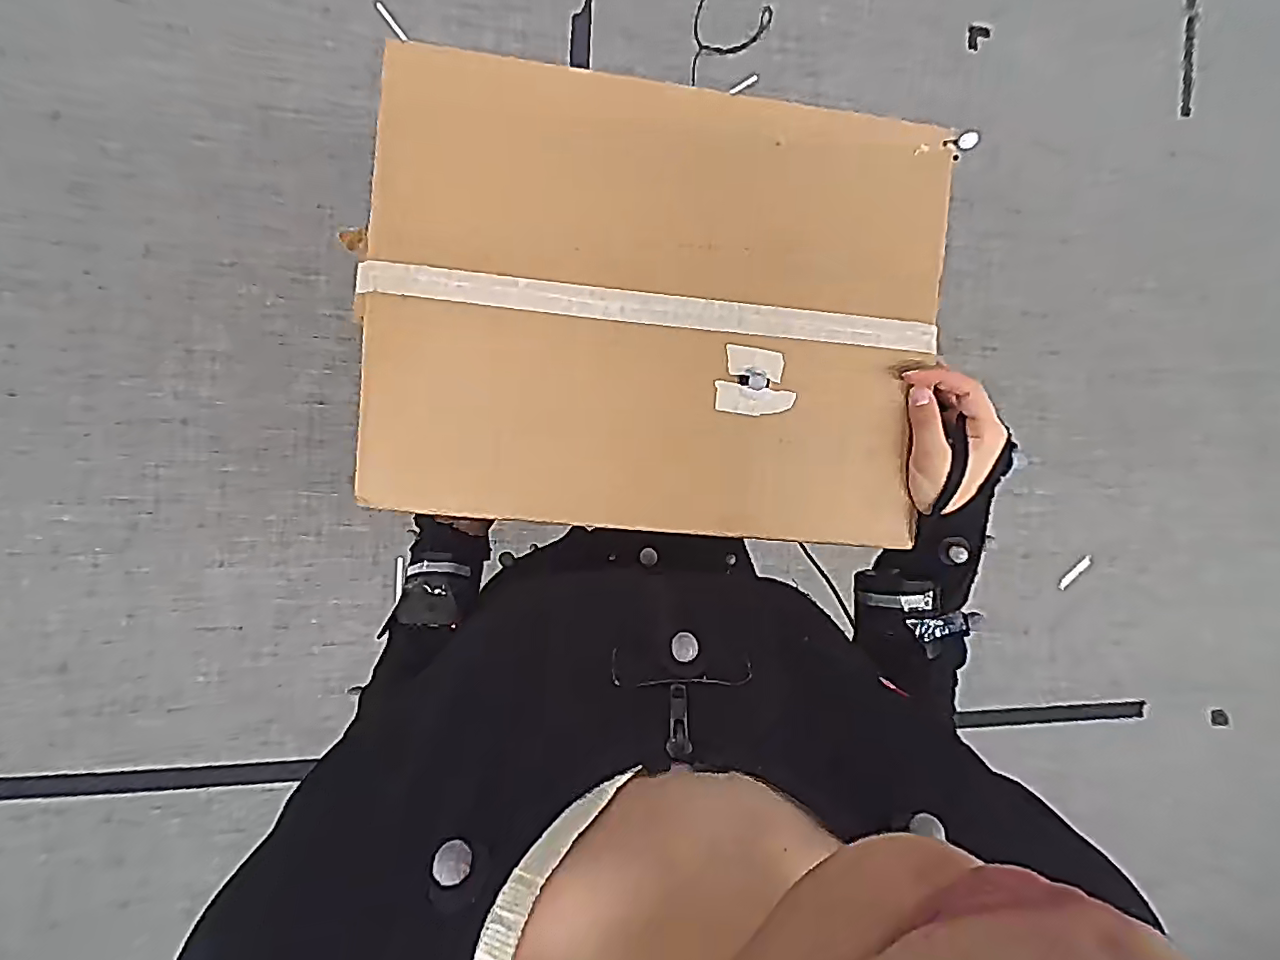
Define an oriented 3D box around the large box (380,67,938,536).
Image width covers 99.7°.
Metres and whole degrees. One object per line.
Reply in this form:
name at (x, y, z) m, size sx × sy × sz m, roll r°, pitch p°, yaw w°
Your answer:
large box at (0.004, -0.124, 0.541) m, size 0.408 × 0.320 × 0.320 m, roll 4°, pitch 92°, yaw -7°
